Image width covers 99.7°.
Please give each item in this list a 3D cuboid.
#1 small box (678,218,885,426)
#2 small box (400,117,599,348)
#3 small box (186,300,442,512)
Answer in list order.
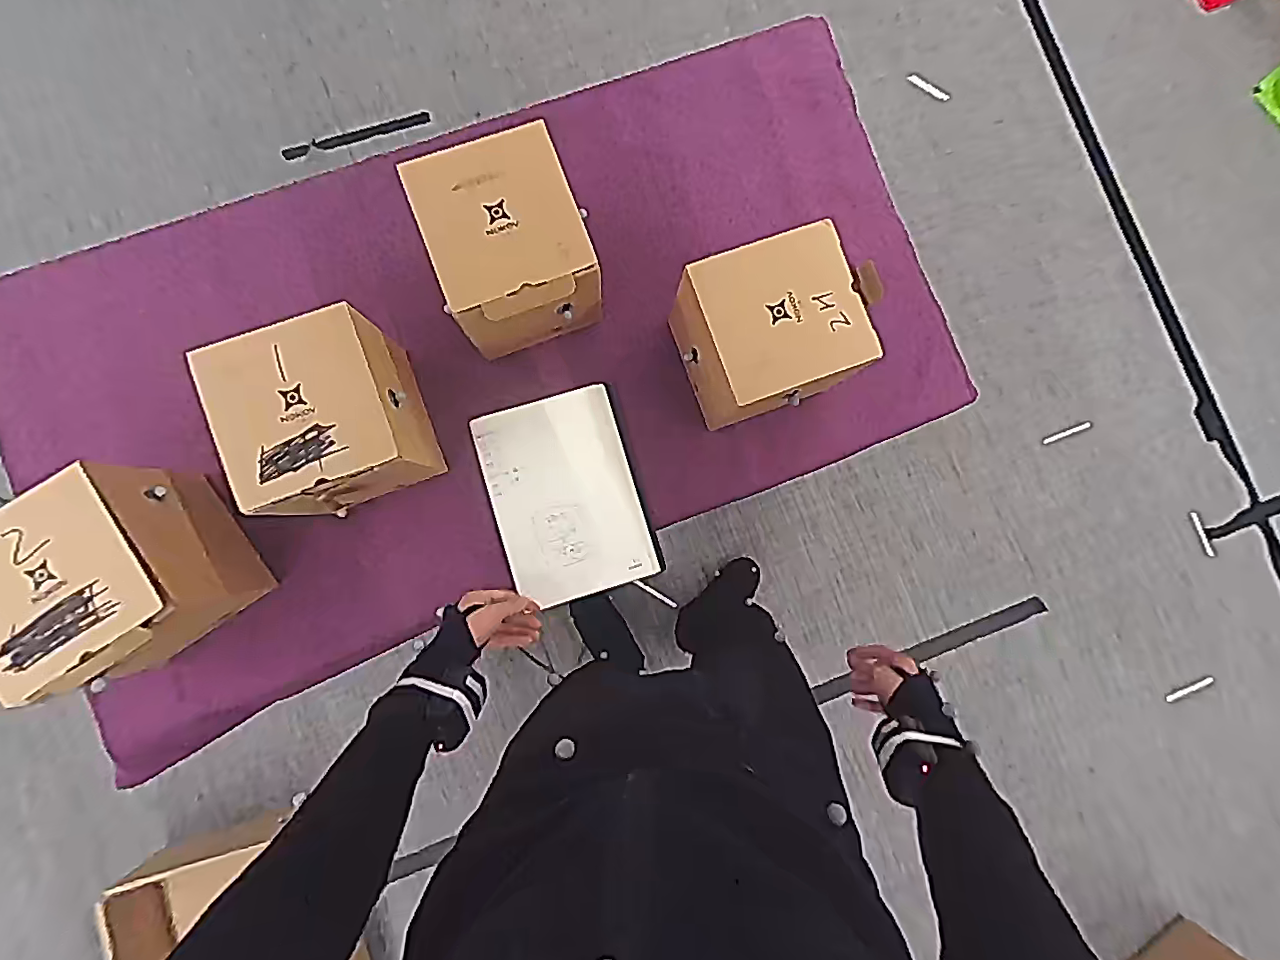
[{"bbox_3d":[0.152,-0.176,0.655,0.179,0.176,0.168,-19,88,-5],"label":"small box"},{"bbox_3d":[-0.151,-0.273,0.644,0.168,0.176,0.179,-20,88,-5],"label":"small box"},{"bbox_3d":[-0.349,-0.071,0.616,0.168,0.176,0.179,-20,87,-5],"label":"small box"}]
